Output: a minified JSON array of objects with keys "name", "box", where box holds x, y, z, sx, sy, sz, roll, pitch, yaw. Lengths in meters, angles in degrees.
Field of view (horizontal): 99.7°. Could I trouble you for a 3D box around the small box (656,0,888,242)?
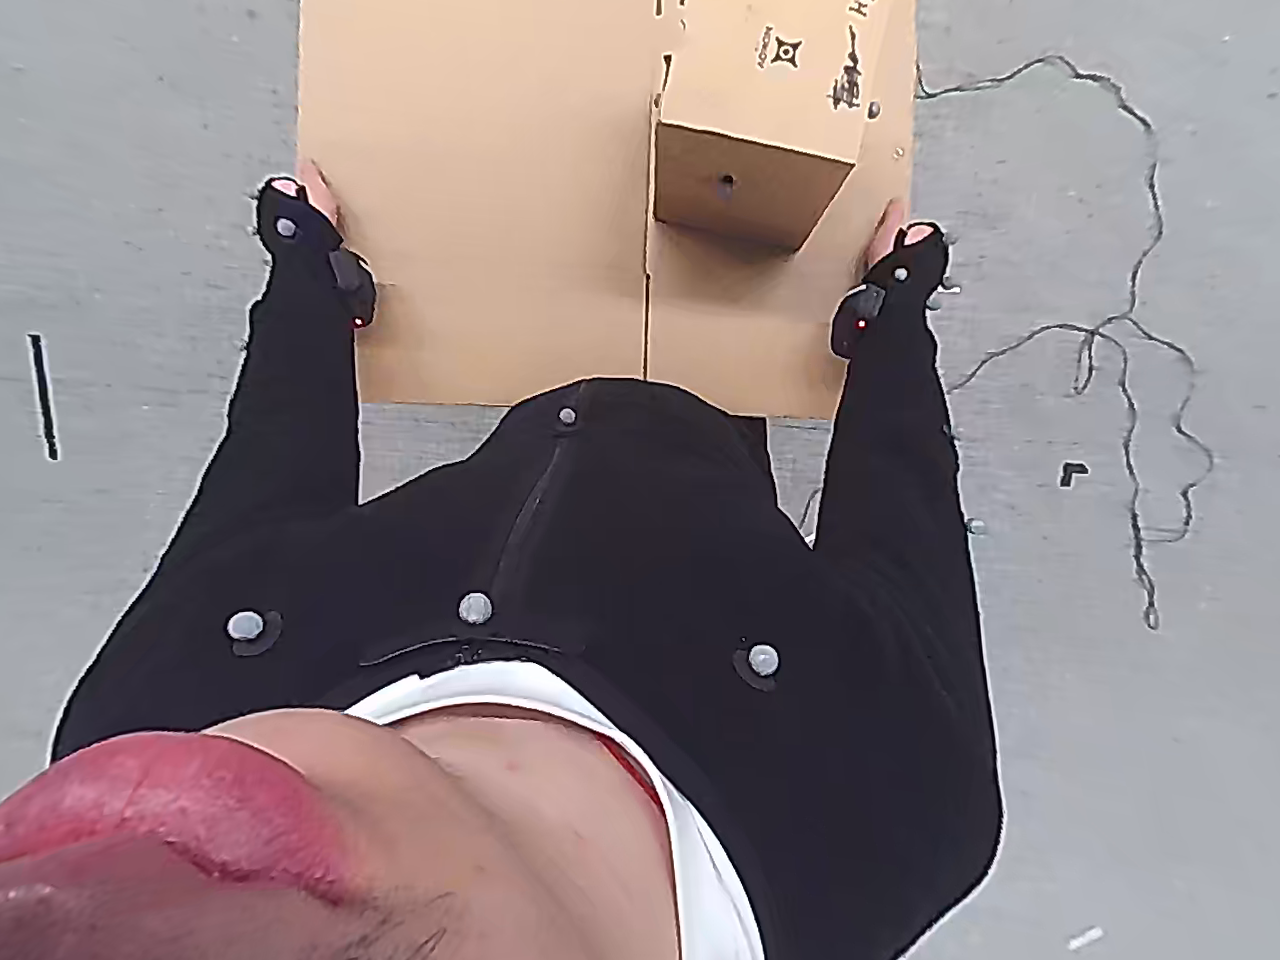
[{"name":"small box","box":[0.117,-0.366,0.547,0.179,0.176,0.168,12,90,2]}]
